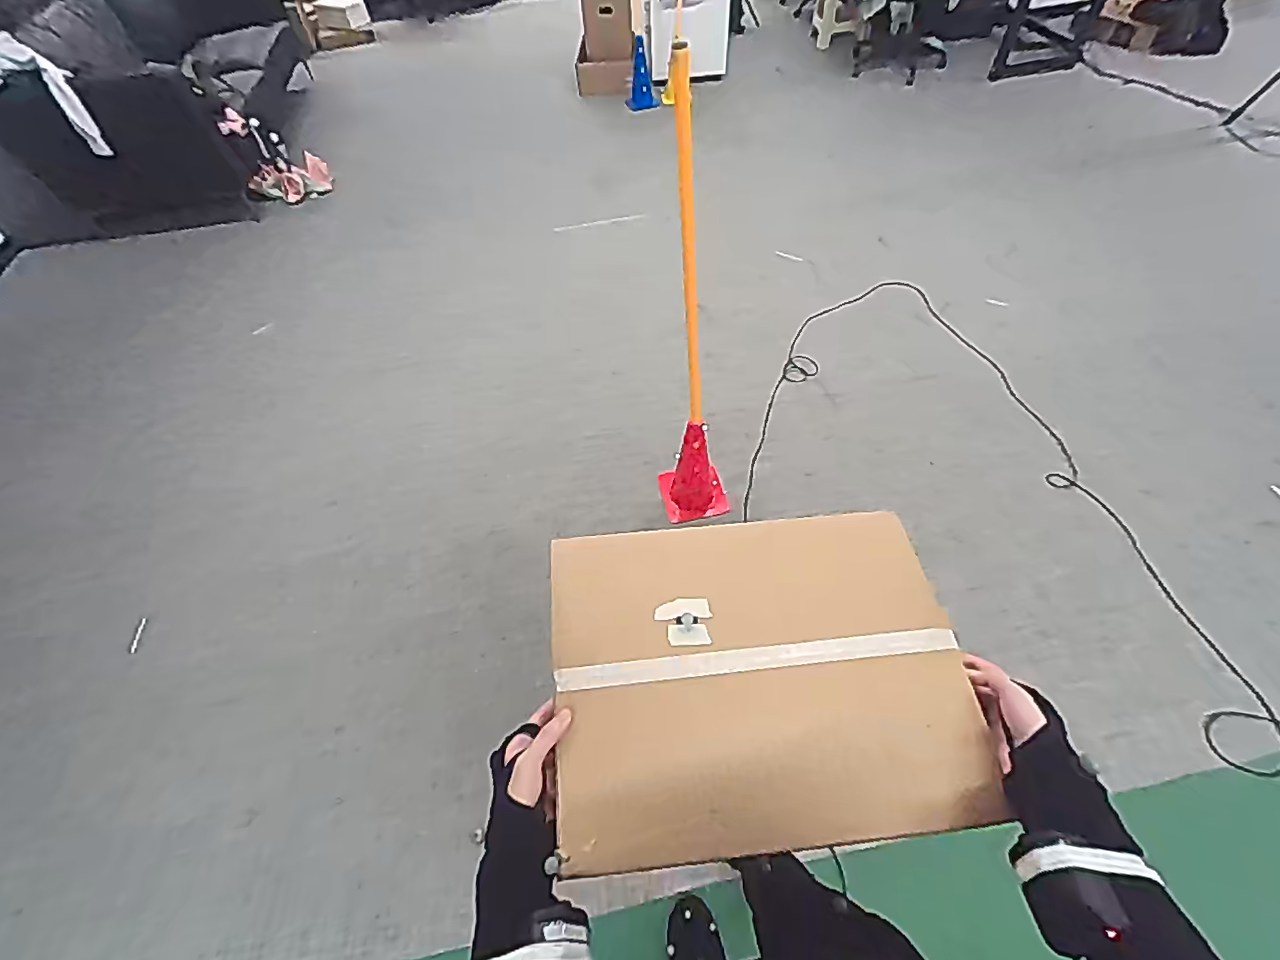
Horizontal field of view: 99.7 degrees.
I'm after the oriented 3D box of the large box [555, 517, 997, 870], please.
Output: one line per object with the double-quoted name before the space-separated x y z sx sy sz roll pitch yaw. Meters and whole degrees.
"large box" 0.116 0.268 0.683 0.408 0.320 0.320 -5 57 -3
